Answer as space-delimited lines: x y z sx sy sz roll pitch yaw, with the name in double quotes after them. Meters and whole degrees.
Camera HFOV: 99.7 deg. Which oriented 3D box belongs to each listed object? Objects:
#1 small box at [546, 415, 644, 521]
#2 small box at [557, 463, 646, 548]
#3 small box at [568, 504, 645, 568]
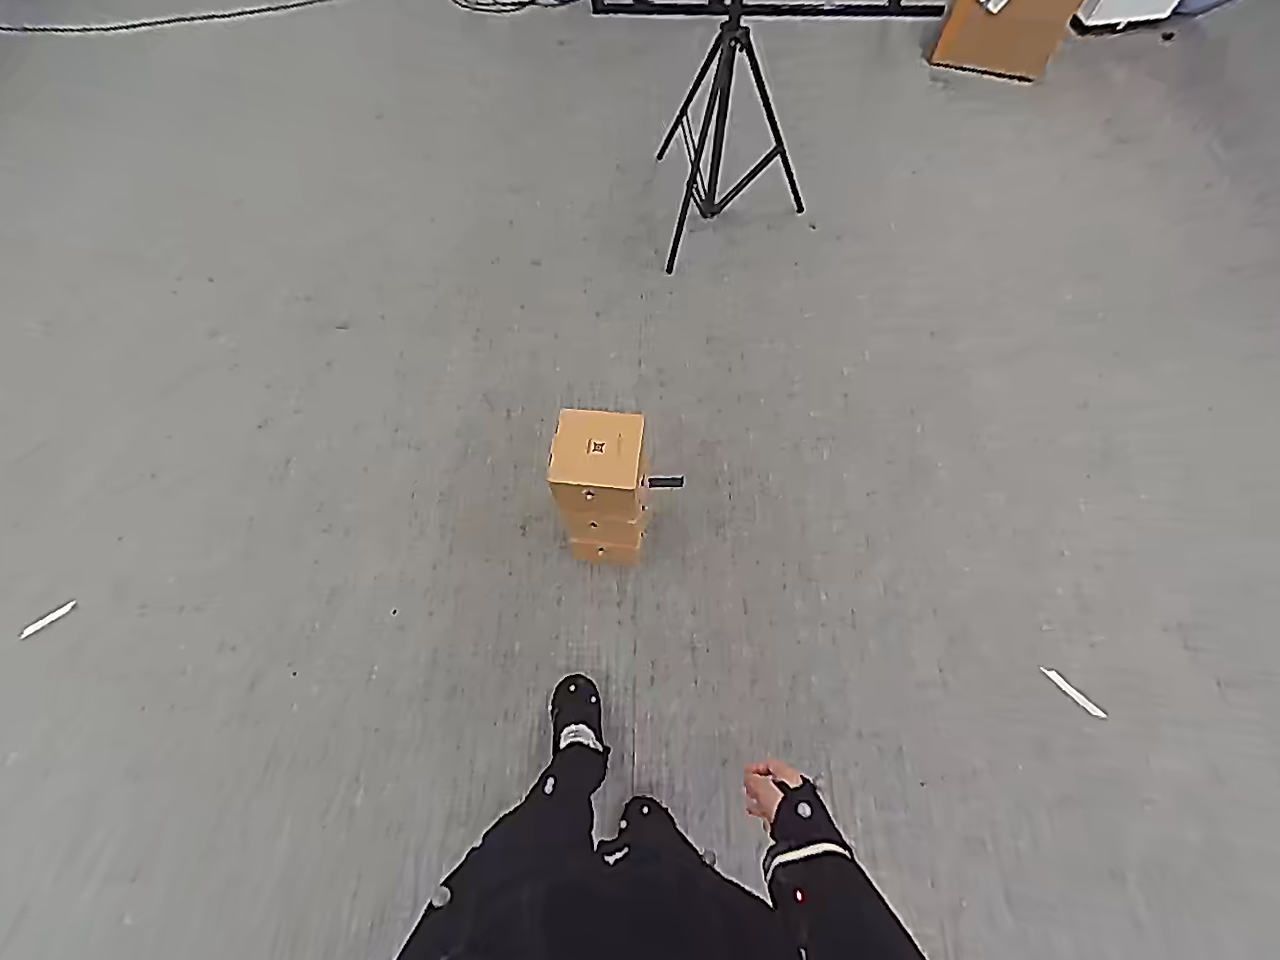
-0.086 -0.020 1.139 0.179 0.176 0.168 5 67 3 "small box"
-0.084 0.054 1.283 0.179 0.176 0.168 8 67 4 "small box"
-0.082 0.129 1.430 0.179 0.176 0.168 5 66 3 "small box"
